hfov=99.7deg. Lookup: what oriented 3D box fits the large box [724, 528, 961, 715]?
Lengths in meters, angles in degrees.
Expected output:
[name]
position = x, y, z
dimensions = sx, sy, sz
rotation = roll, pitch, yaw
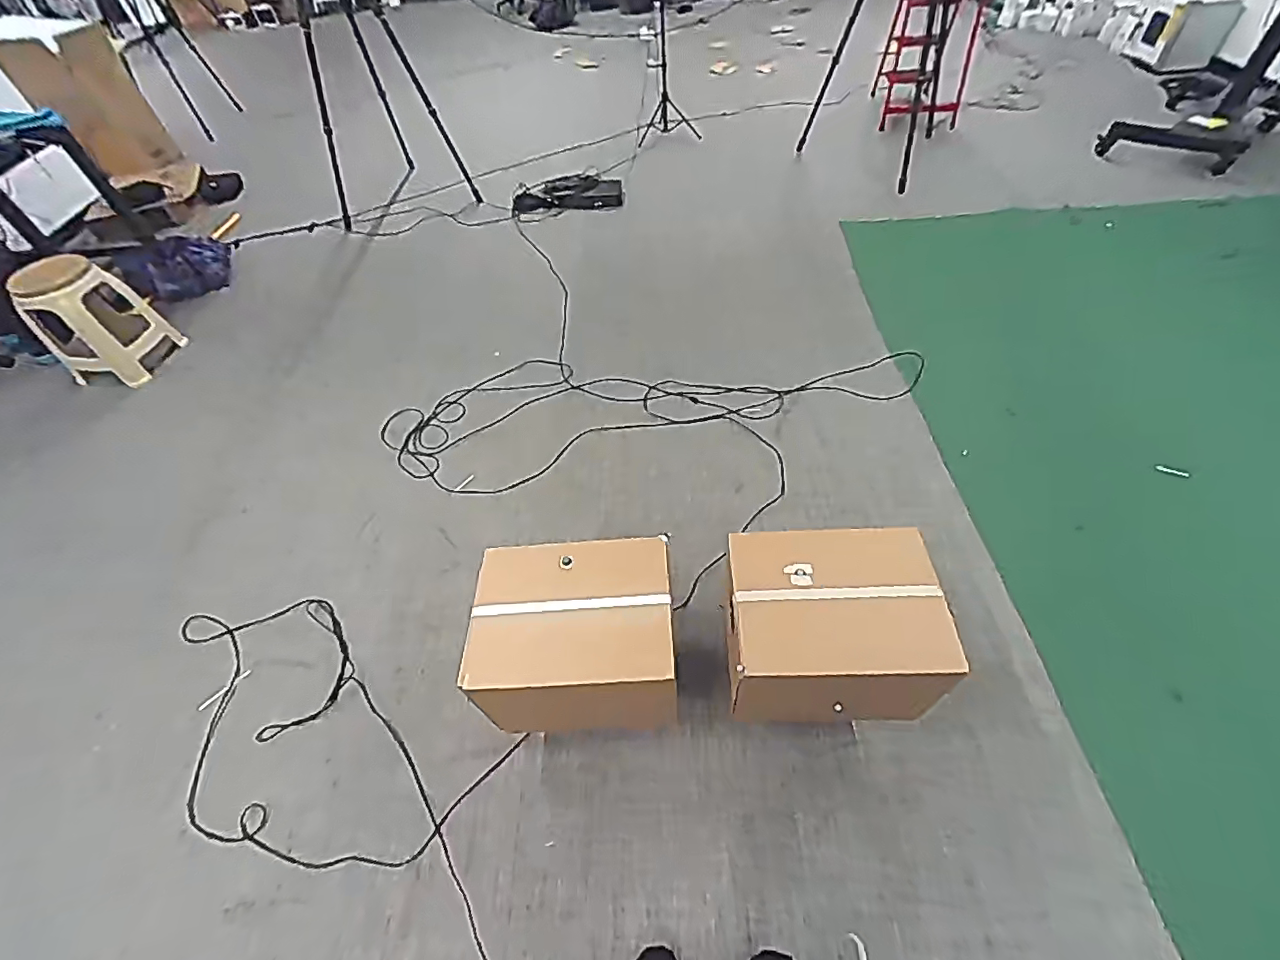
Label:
[large box]
position = 0.405, 0.324, 1.204
dimensions = 0.408, 0.320, 0.320
rotation = -2, 51, 4
